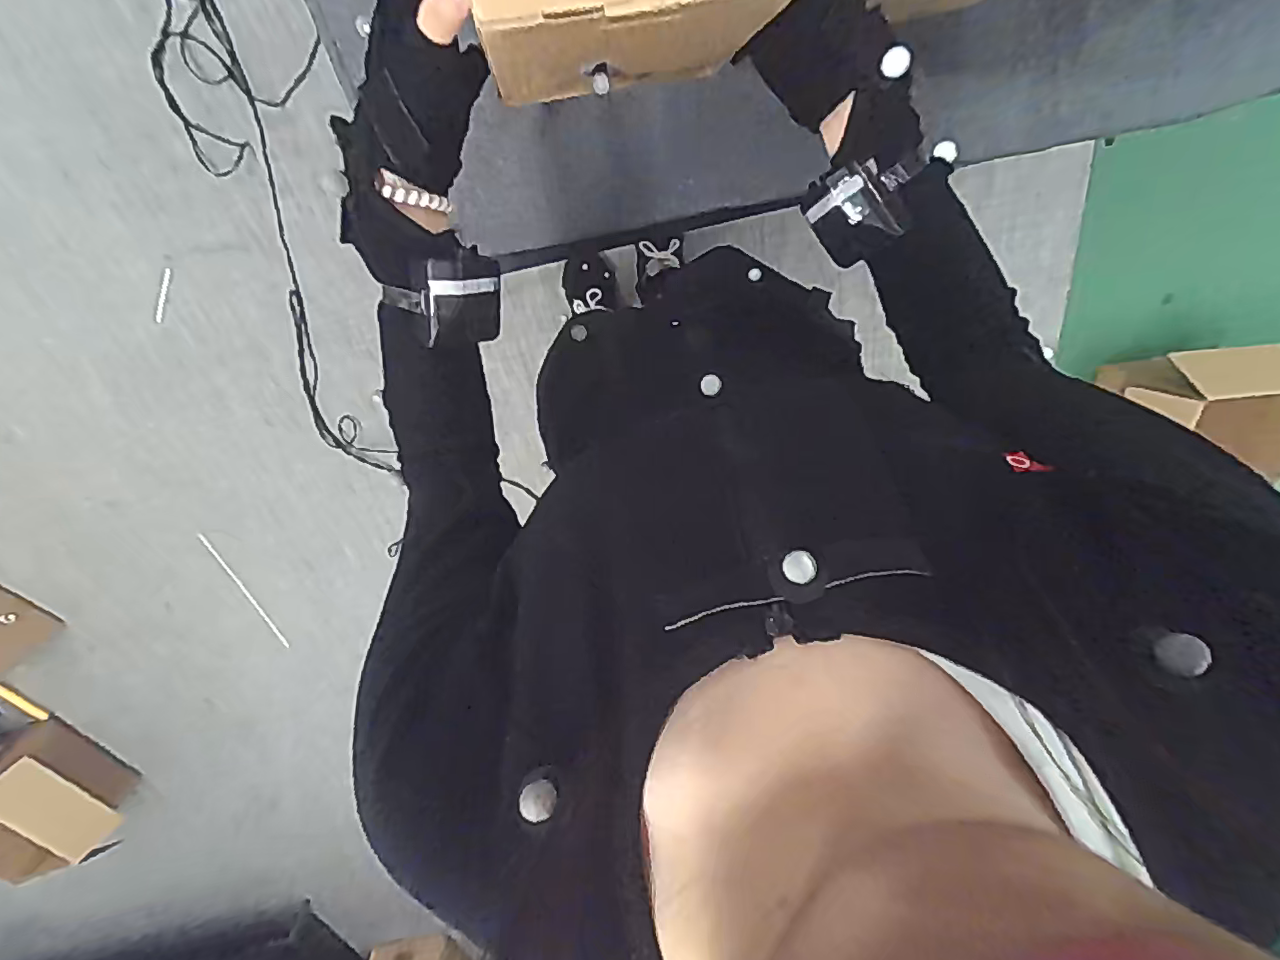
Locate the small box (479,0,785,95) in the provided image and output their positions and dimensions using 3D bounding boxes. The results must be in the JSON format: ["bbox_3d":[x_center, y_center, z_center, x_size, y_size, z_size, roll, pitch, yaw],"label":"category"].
[{"bbox_3d":[-0.020,-0.340,0.292,0.168,0.176,0.179,-13,117,-5],"label":"small box"}]
